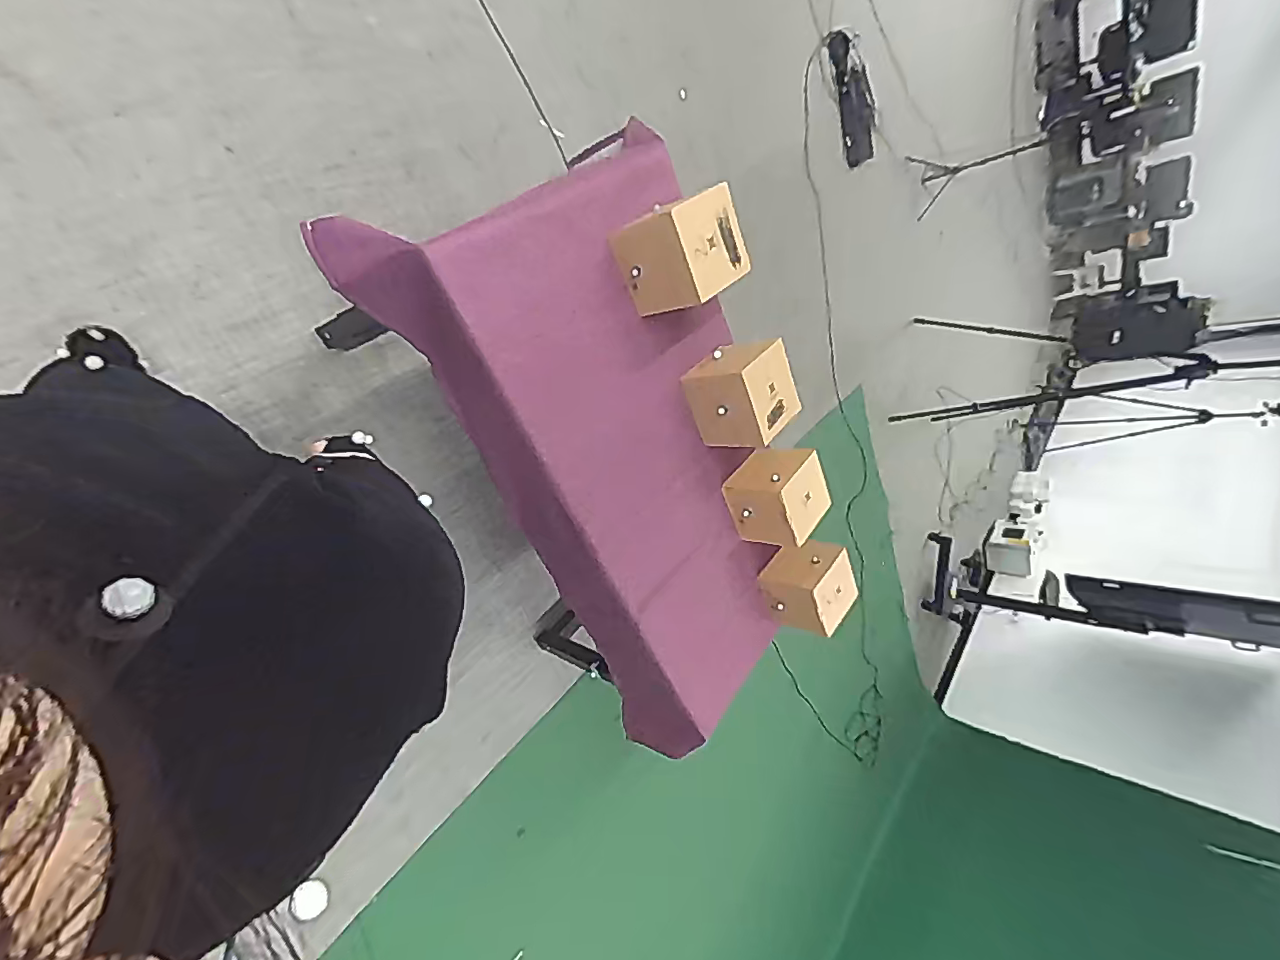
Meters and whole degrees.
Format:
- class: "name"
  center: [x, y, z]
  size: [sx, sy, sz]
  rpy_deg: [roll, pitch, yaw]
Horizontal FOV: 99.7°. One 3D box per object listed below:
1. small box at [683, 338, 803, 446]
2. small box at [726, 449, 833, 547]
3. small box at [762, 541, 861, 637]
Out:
- class: "small box"
  center: [0.226, -0.191, 1.189]
  size: [0.168, 0.176, 0.179]
  rpy_deg: [-42, 119, -33]
- class: "small box"
  center: [0.339, 0.035, 1.313]
  size: [0.179, 0.176, 0.168]
  rpy_deg: [-43, 120, -31]
- class: "small box"
  center: [0.452, 0.275, 1.428]
  size: [0.179, 0.176, 0.168]
  rpy_deg: [-39, 118, -30]
